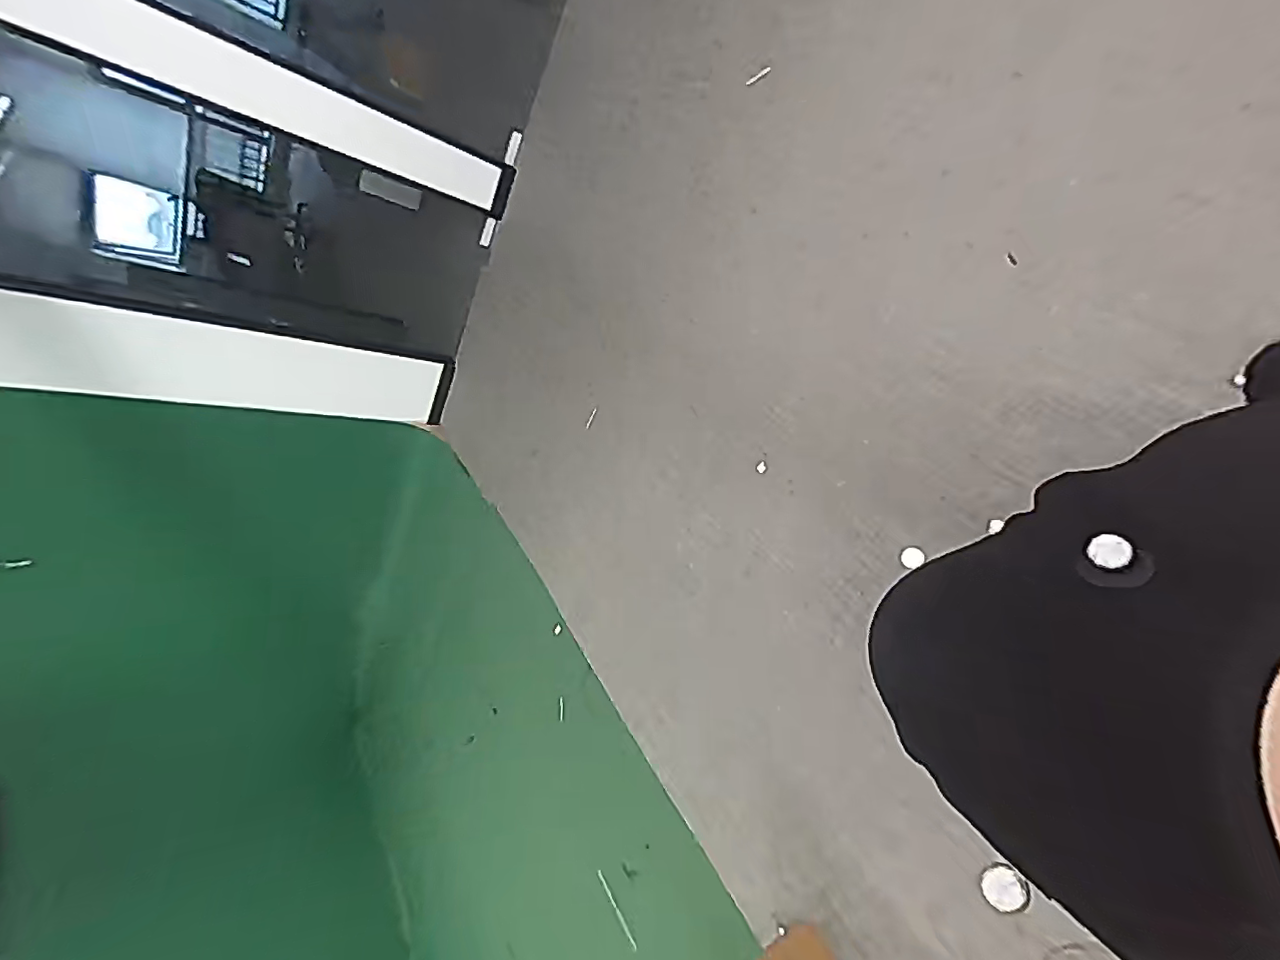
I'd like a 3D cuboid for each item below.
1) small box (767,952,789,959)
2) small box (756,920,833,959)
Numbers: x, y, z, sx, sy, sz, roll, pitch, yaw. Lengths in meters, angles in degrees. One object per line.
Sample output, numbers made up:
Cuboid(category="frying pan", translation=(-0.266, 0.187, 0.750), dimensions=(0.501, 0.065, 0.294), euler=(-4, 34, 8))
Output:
Cuboid(category="small box", translation=(0.349, 1.435, 1.460), dimensions=(0.168, 0.176, 0.179), euler=(51, 124, 36))
Cuboid(category="small box", translation=(0.463, 1.444, 1.574), dimensions=(0.179, 0.176, 0.168), euler=(52, 124, 35))
